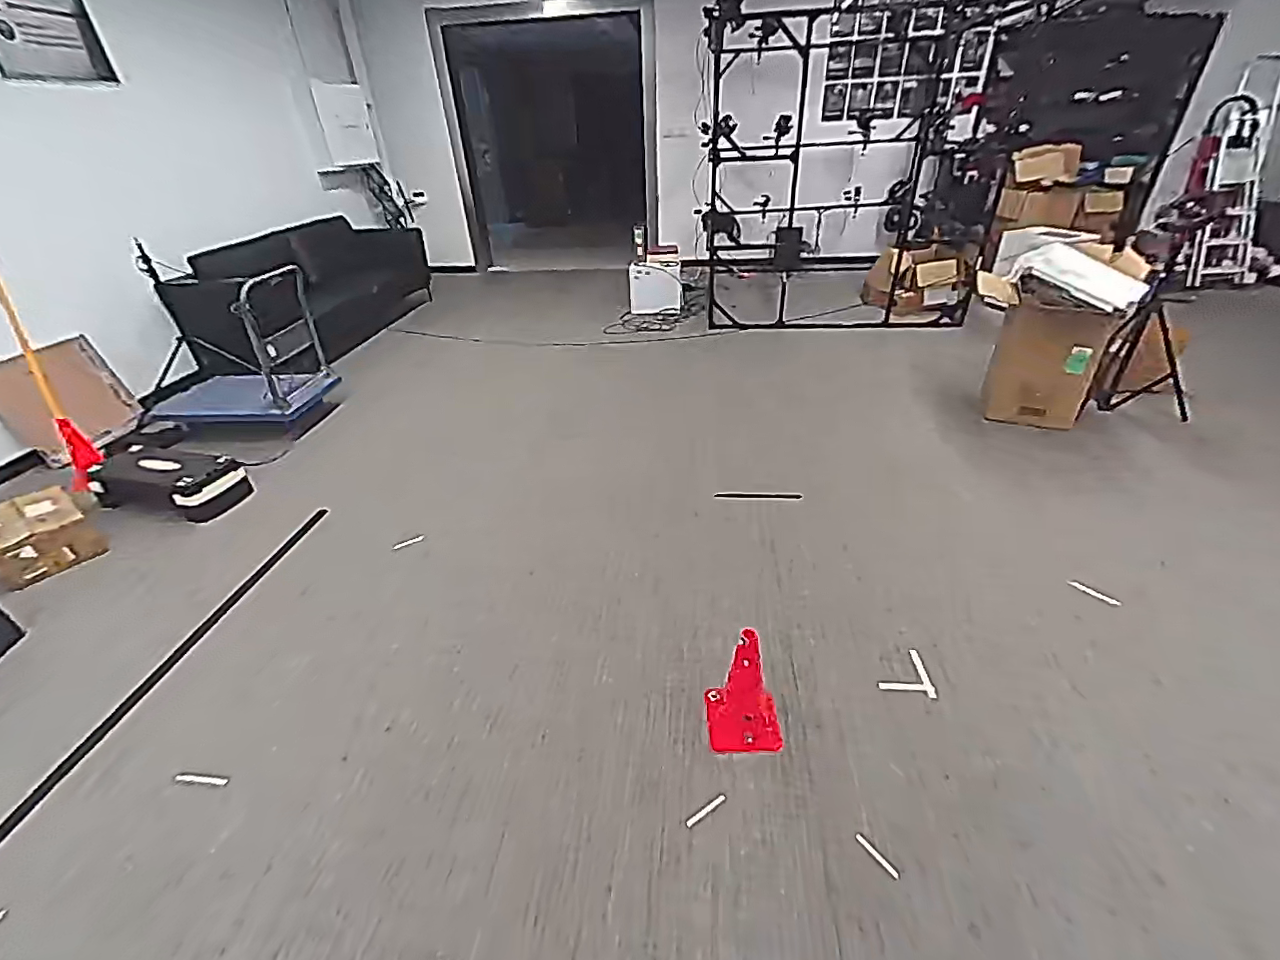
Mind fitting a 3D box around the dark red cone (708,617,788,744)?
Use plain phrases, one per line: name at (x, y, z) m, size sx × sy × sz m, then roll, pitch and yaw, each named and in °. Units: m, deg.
dark red cone at (0.288, 0.505, 1.415) m, size 0.202 × 0.394 × 0.201 m, roll -3°, pitch 34°, yaw 1°
